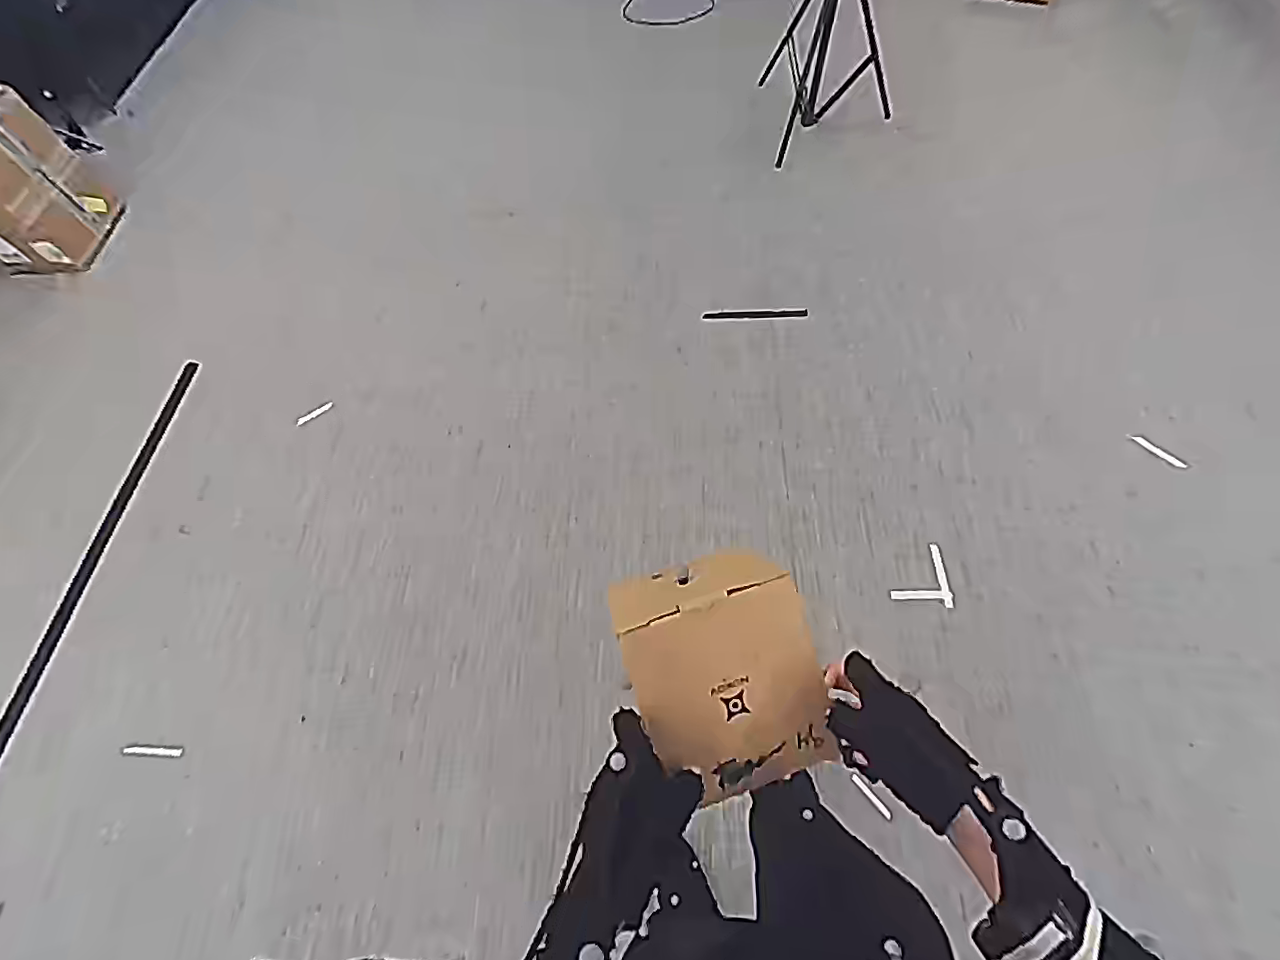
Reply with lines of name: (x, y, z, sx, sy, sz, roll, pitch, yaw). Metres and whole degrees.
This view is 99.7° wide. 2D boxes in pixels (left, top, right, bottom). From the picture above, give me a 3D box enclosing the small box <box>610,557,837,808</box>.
small box: (0.070, 0.186, 0.561, 0.168, 0.176, 0.179, -17, 92, -6)
